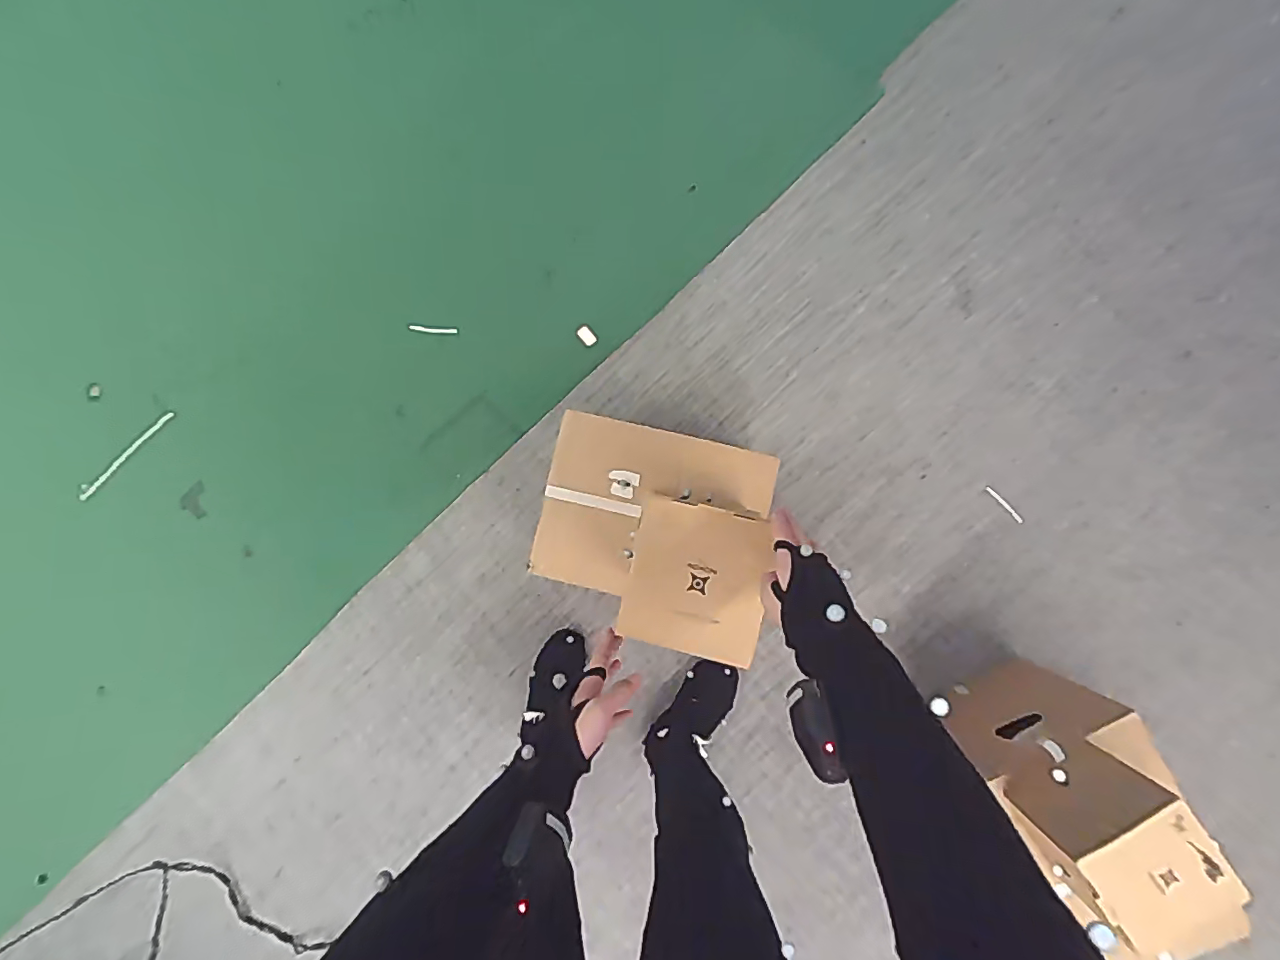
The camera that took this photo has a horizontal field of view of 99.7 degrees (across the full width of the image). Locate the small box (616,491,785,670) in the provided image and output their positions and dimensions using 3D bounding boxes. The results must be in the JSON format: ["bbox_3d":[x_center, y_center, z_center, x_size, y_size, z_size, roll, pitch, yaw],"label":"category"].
[{"bbox_3d":[0.074,0.118,0.710,0.168,0.176,0.179,14,90,4],"label":"small box"}]

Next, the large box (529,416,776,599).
[{"bbox_3d":[0.032,0.076,1.123,0.408,0.320,0.320,13,88,4],"label":"large box"}]

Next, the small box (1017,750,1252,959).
[{"bbox_3d":[0.725,0.557,0.824,0.179,0.176,0.168,-33,87,3],"label":"small box"}]
